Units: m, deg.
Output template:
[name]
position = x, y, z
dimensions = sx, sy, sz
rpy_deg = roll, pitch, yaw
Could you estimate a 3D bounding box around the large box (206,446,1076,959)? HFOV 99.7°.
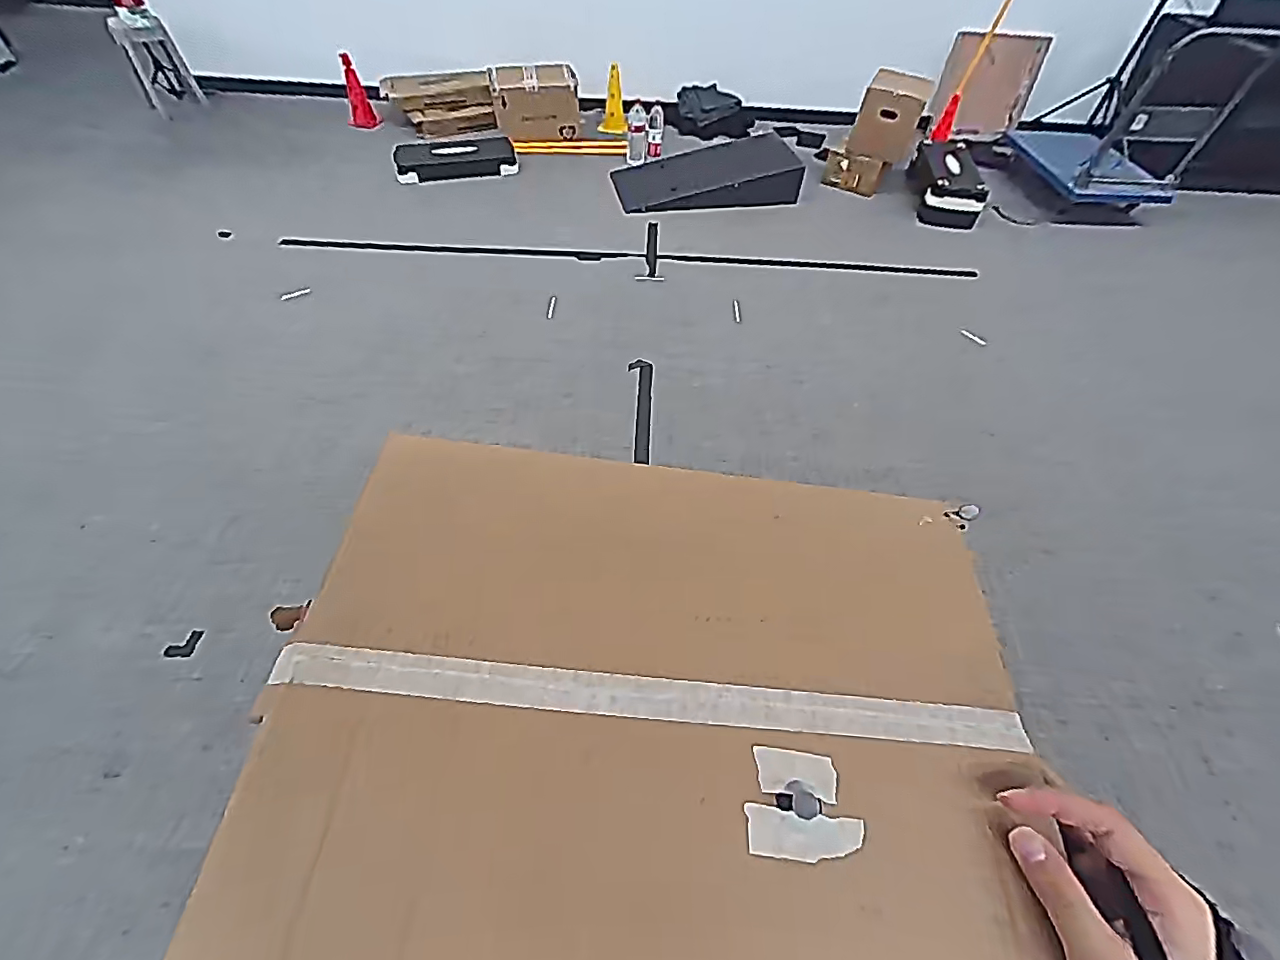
[large box]
position = 0.002, 0.206, 0.431
dimensions = 0.408, 0.320, 0.320
rpy_deg = 8, 56, -4
